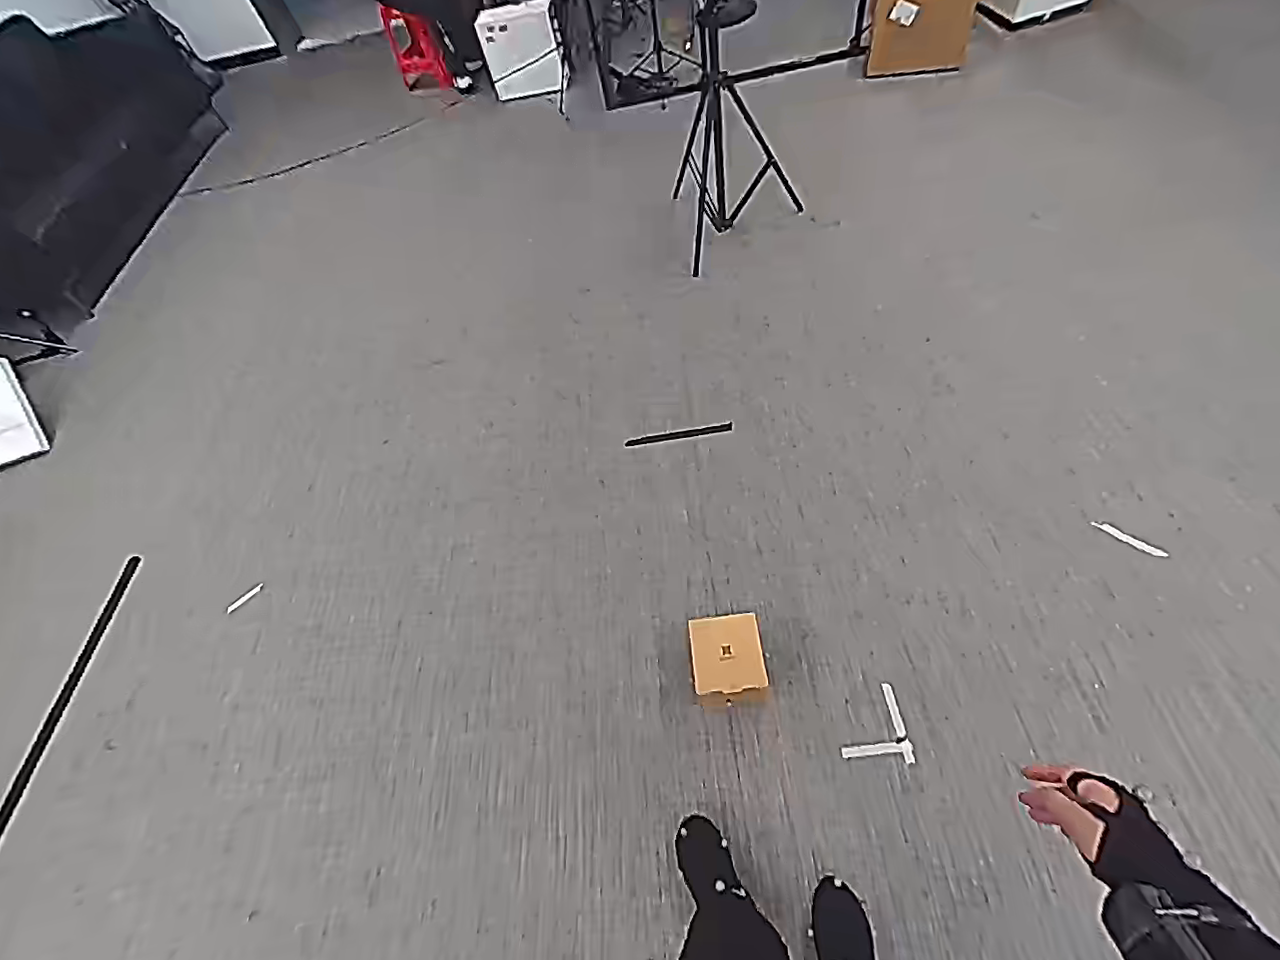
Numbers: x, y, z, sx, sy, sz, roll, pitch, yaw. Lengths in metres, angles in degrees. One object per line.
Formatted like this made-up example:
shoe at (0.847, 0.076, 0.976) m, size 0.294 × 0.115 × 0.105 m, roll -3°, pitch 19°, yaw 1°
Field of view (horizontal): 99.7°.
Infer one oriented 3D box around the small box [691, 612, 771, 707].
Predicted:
small box at (0.221, 0.445, 1.333) m, size 0.168 × 0.176 × 0.179 m, roll -9°, pitch 57°, yaw 6°
